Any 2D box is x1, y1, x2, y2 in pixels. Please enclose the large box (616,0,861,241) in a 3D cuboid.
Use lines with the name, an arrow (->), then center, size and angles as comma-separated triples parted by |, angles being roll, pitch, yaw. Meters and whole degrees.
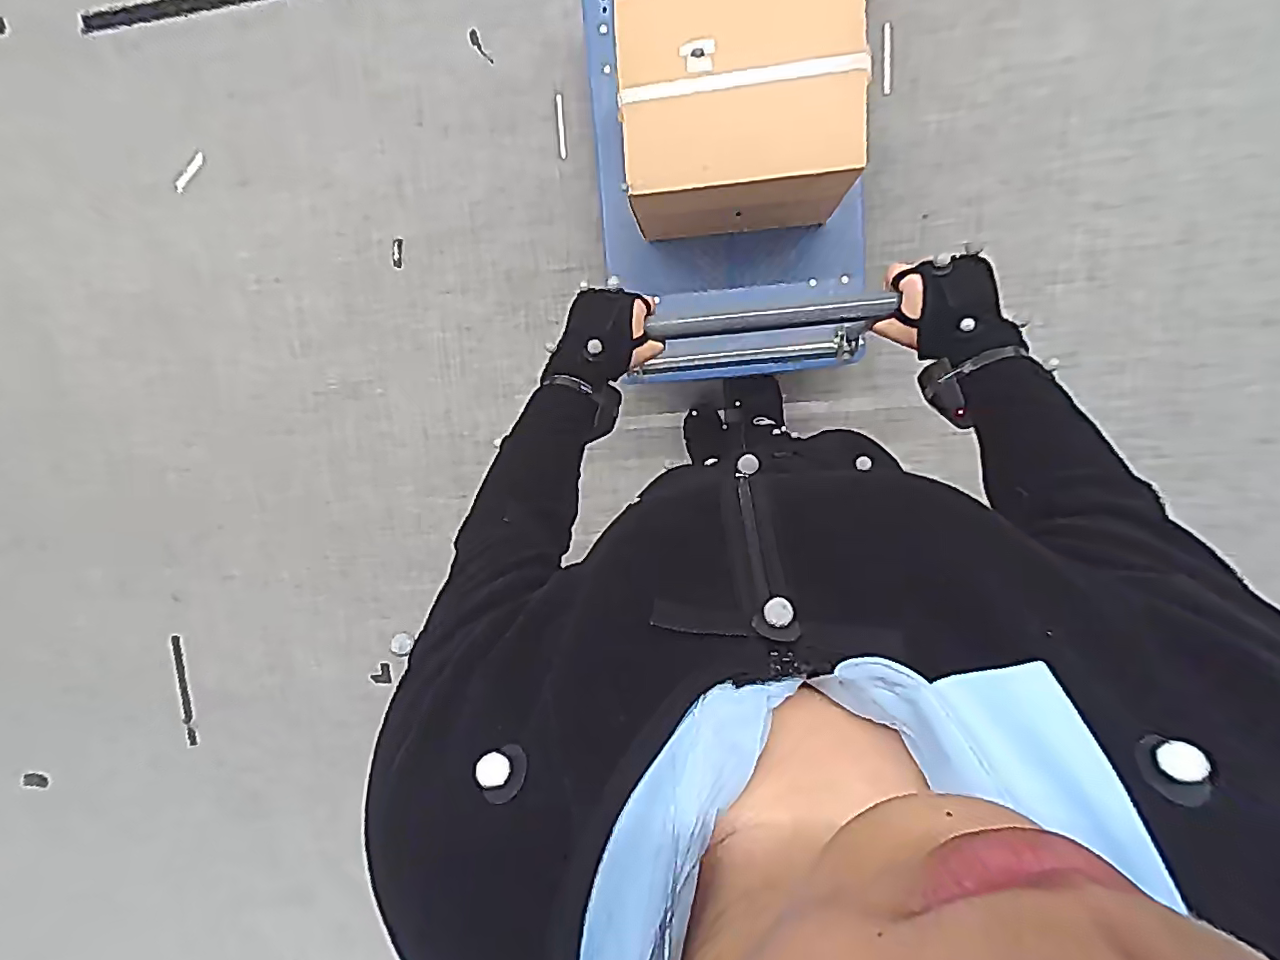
large box -> 0.188, -0.692, 1.066 | 0.408, 0.320, 0.320 | -3, 98, 8
